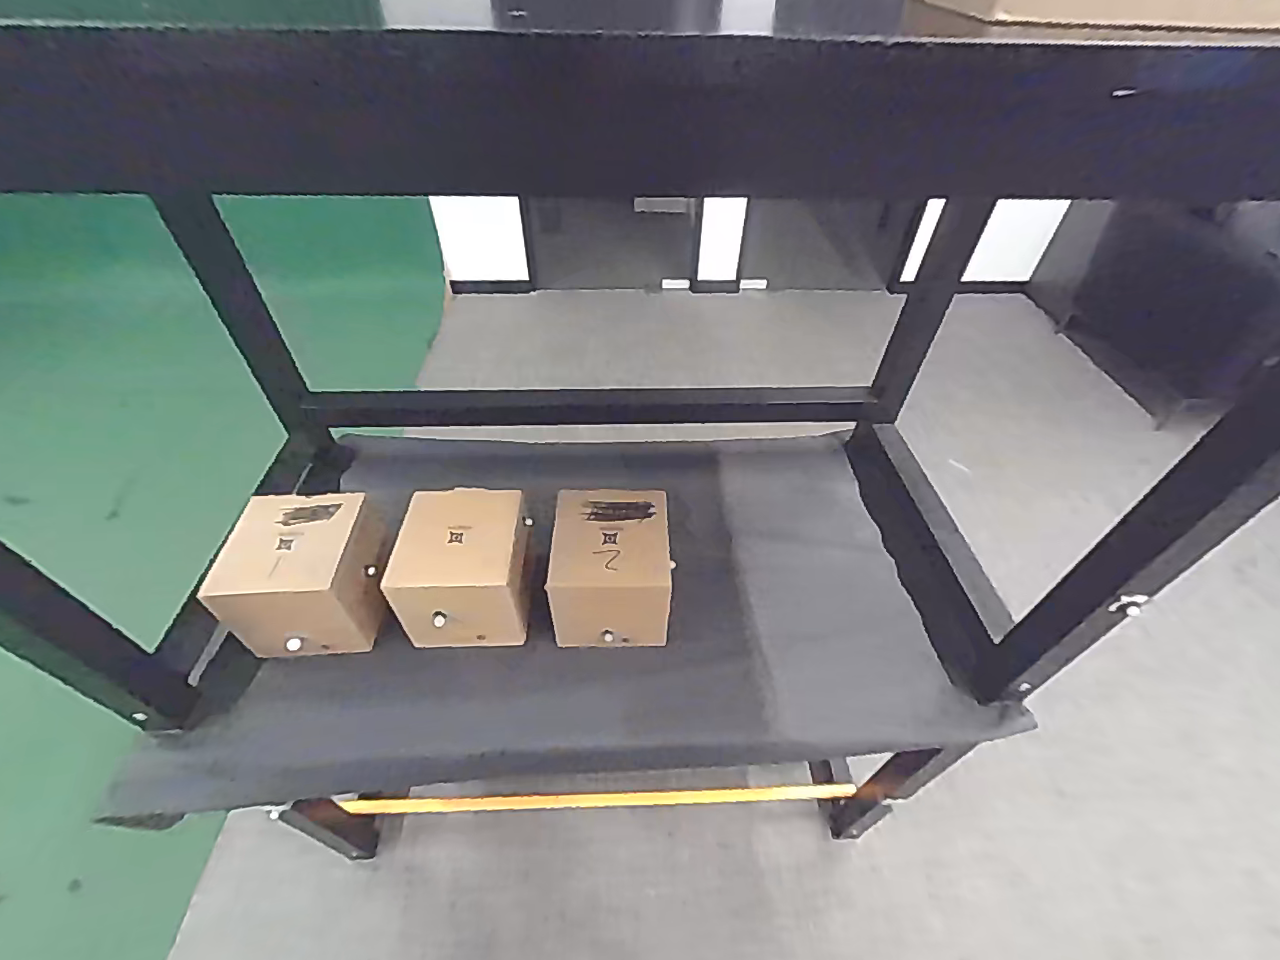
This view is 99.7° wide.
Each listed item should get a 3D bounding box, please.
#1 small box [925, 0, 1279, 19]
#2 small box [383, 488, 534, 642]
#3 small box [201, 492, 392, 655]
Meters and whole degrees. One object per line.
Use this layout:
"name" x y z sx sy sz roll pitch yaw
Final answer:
"small box" 0.250 -0.334 0.255 0.168 0.176 0.179 5 45 4
"small box" -0.258 0.132 0.819 0.168 0.176 0.179 -1 44 -2
"small box" -0.485 0.138 0.804 0.168 0.176 0.179 -3 45 -4
